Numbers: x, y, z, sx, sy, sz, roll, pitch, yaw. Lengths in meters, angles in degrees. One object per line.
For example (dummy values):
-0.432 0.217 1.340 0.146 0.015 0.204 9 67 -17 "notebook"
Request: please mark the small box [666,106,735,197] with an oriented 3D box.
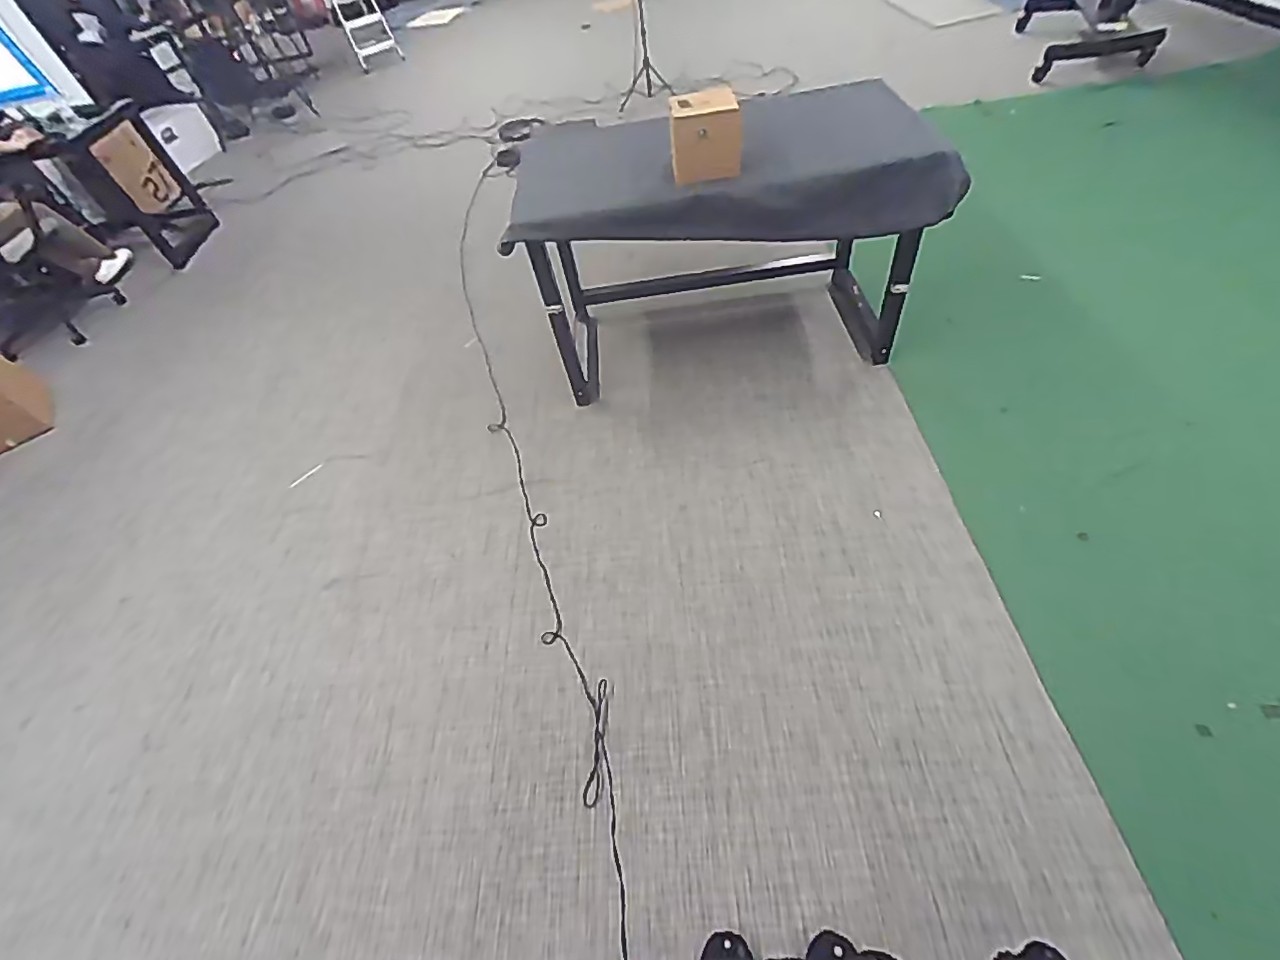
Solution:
0.173 -0.924 1.530 0.179 0.176 0.168 -6 51 4 "small box"
